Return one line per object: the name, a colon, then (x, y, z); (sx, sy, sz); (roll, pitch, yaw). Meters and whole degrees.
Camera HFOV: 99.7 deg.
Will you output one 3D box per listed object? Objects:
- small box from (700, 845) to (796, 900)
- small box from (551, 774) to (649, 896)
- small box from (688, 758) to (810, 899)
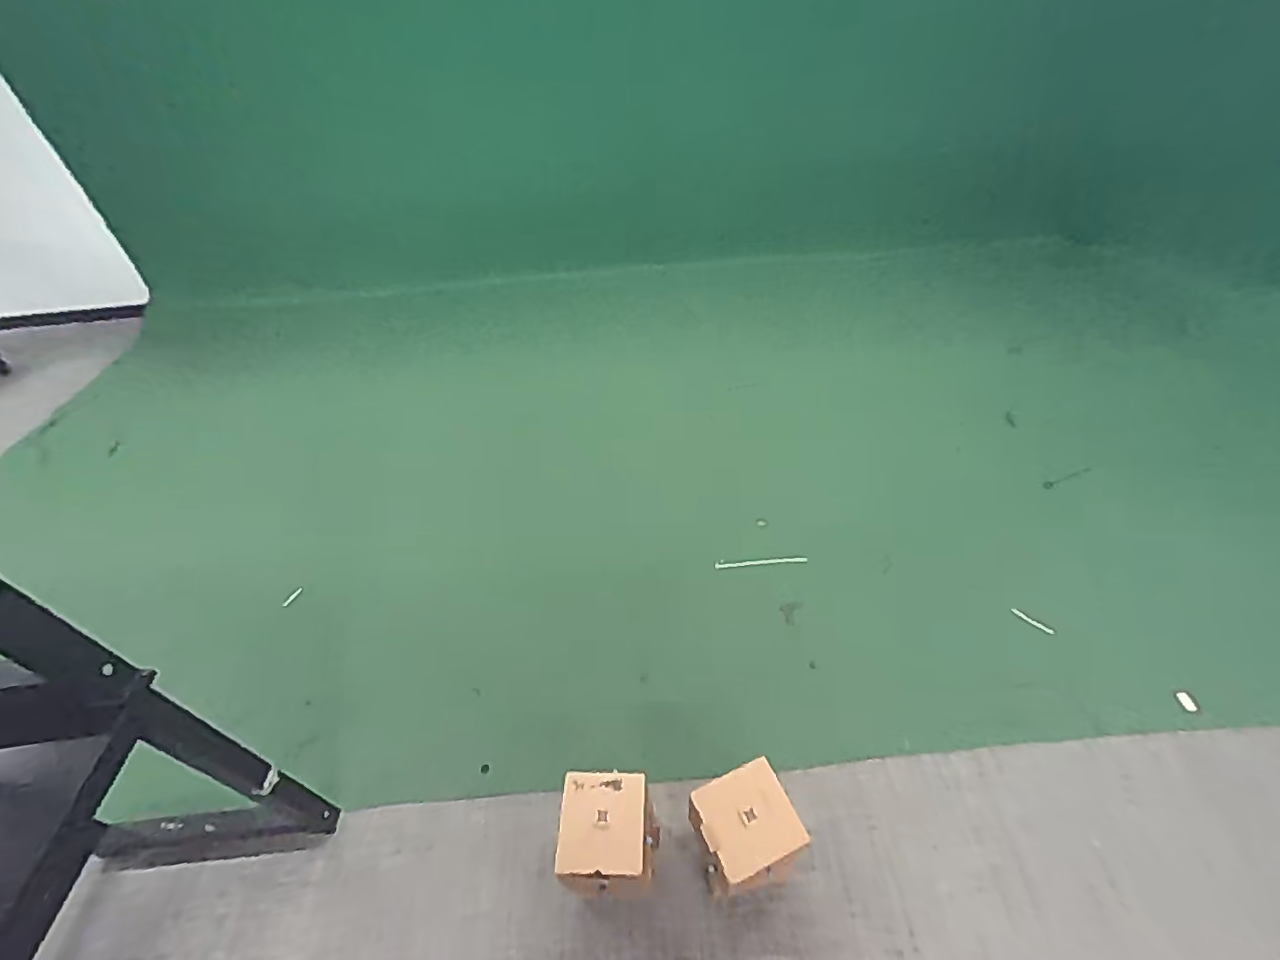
small box: (0.225, 0.805, 1.201); (0.179, 0.176, 0.168); (-9, 45, -6)
small box: (-0.070, 0.713, 1.084); (0.168, 0.176, 0.179); (-1, 44, 5)
small box: (0.208, 0.698, 1.080); (0.179, 0.176, 0.168); (-19, 48, -15)
